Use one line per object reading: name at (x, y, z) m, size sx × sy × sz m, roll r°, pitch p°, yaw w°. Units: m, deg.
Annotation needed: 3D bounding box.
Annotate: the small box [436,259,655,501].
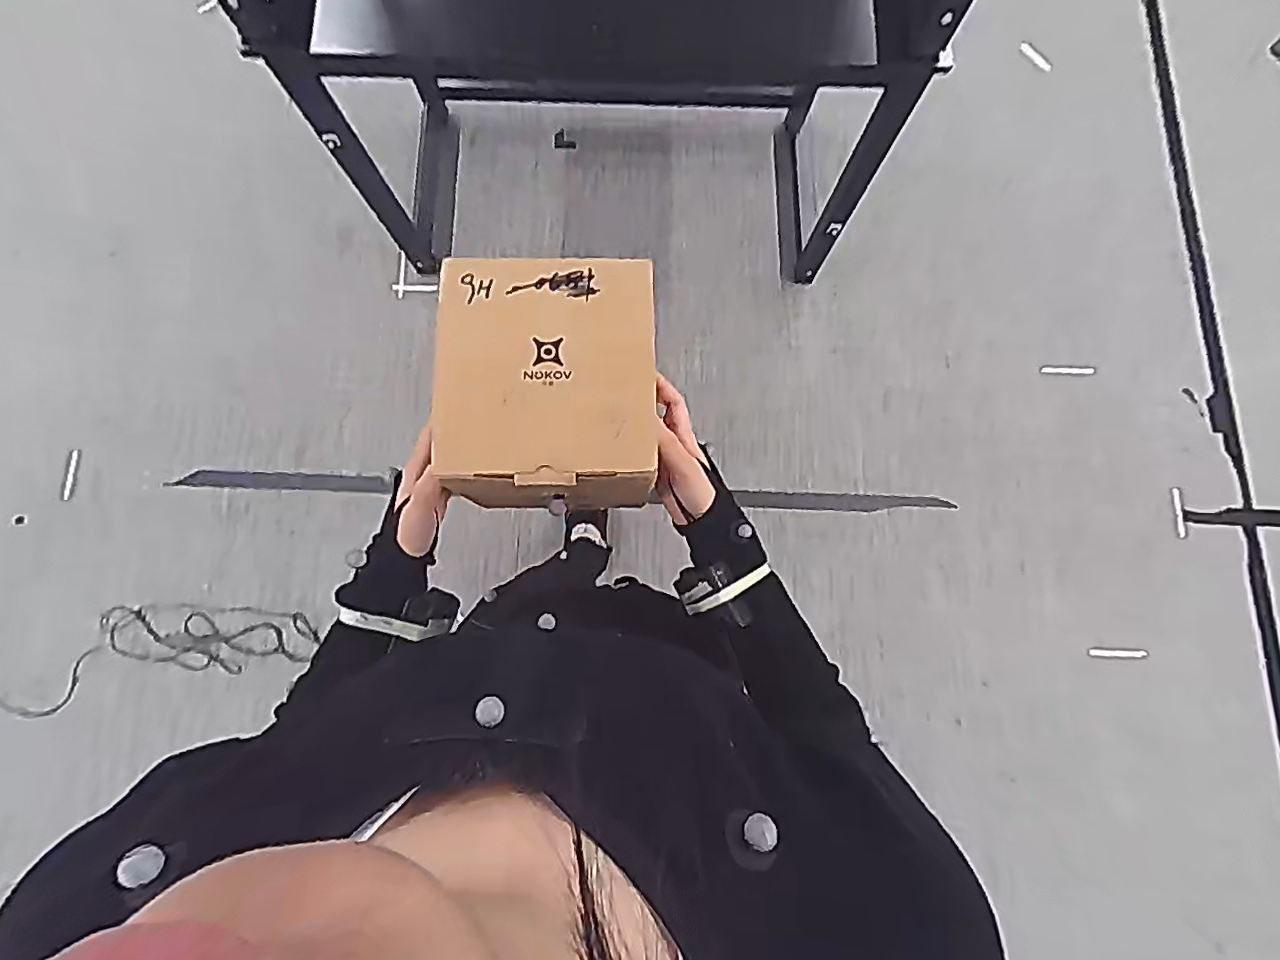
small box at (-0.074, -0.074, 0.491) m, size 0.168 × 0.176 × 0.179 m, roll -1°, pitch 80°, yaw -4°
